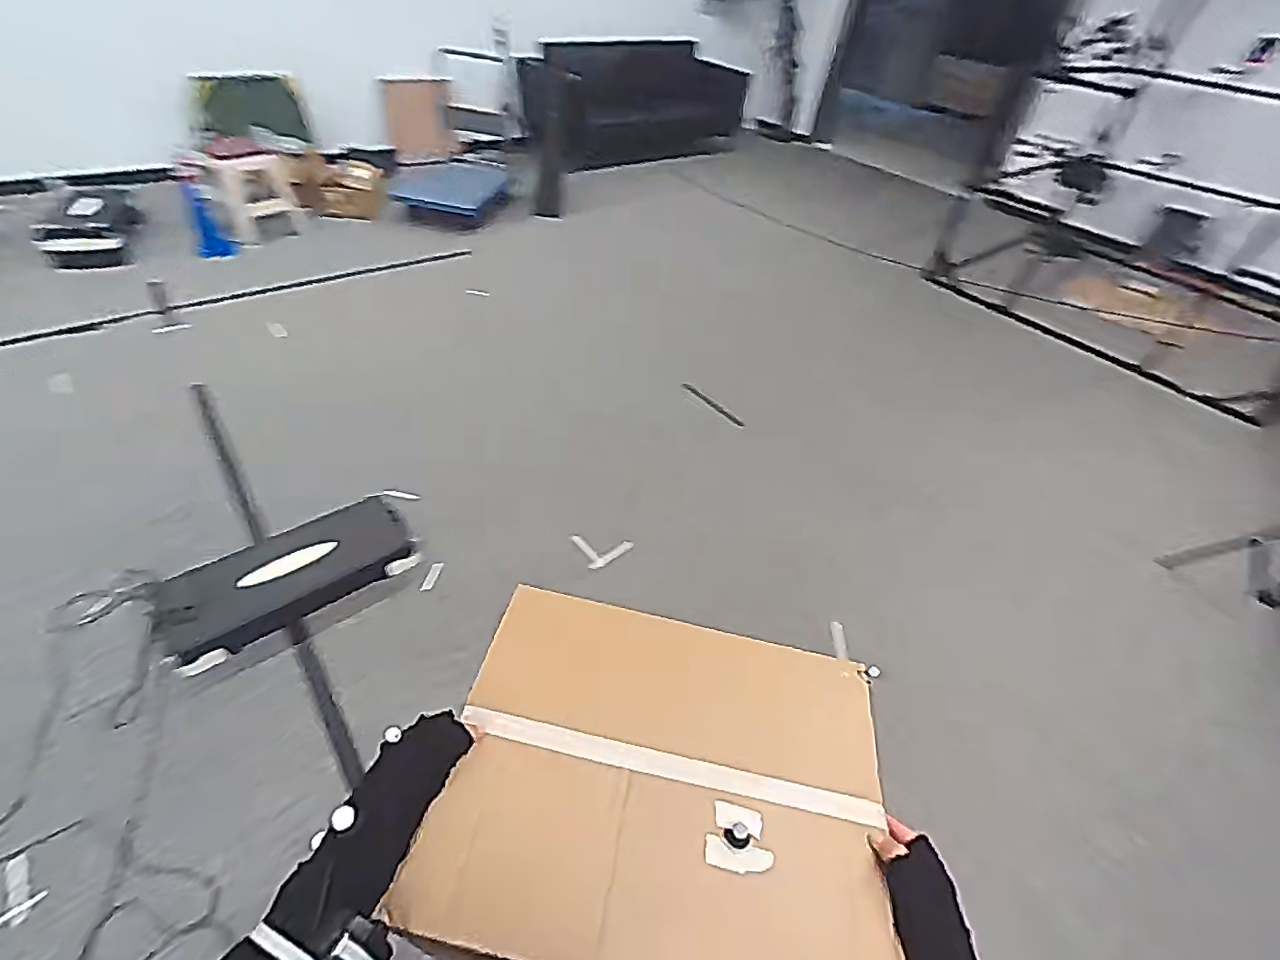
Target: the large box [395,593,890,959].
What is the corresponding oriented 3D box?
[{"bbox_3d":[0.004,0.378,0.622,0.408,0.320,0.320,12,44,2],"label":"large box"}]
